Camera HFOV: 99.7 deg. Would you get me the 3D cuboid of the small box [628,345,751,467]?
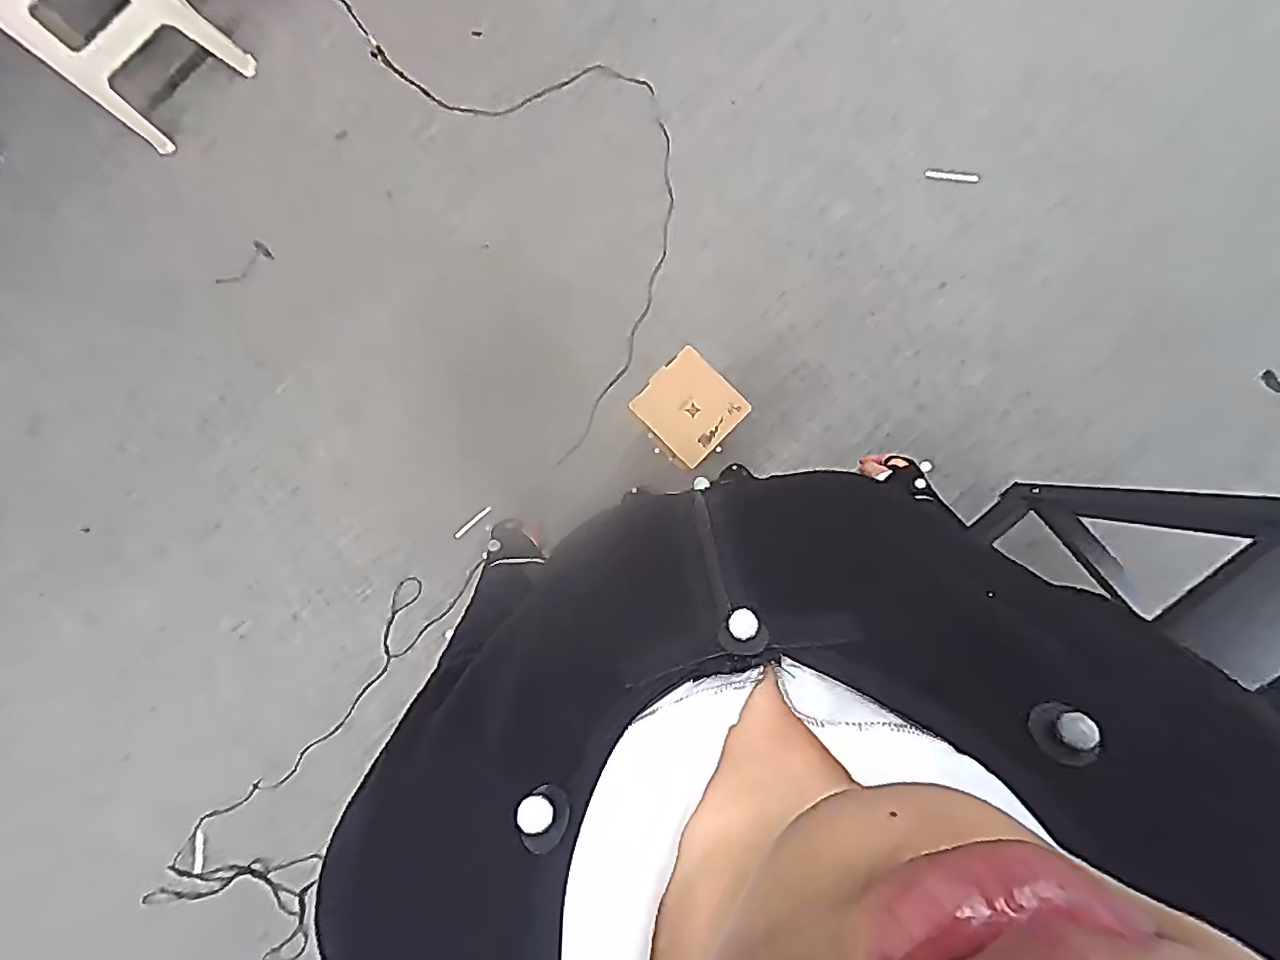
[{"bbox_3d":[0.096,-0.138,1.095,0.179,0.176,0.168,45,93,2],"label":"small box"}]
